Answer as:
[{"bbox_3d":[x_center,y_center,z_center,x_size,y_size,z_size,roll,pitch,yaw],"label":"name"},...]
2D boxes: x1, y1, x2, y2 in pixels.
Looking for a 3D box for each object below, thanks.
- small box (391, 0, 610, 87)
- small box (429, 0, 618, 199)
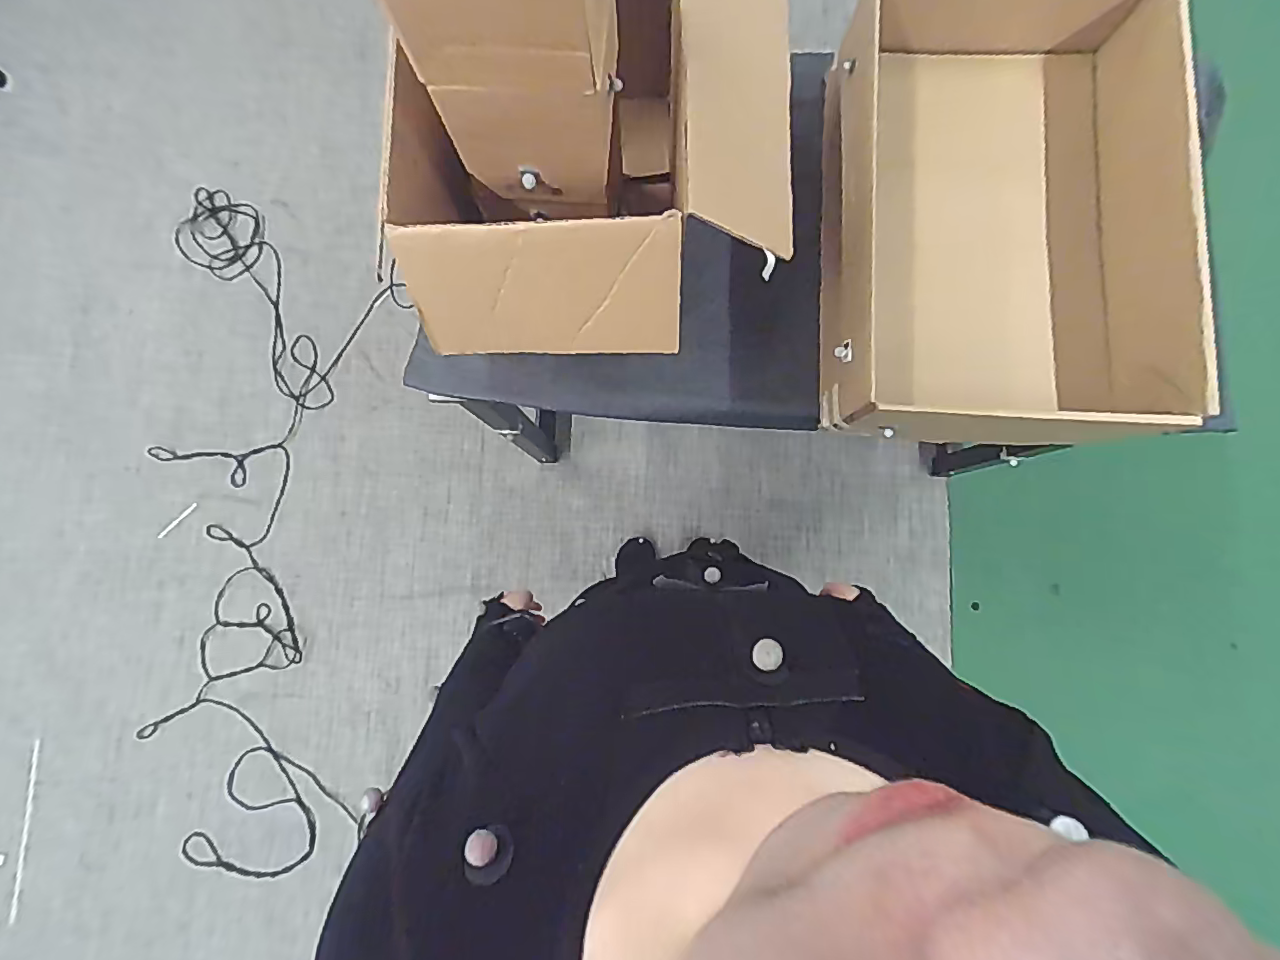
[{"bbox_3d":[-0.119,-0.466,0.444,0.179,0.176,0.168,6,84,1],"label":"small box"},{"bbox_3d":[-0.114,-0.452,0.605,0.168,0.176,0.179,5,86,1],"label":"small box"}]
